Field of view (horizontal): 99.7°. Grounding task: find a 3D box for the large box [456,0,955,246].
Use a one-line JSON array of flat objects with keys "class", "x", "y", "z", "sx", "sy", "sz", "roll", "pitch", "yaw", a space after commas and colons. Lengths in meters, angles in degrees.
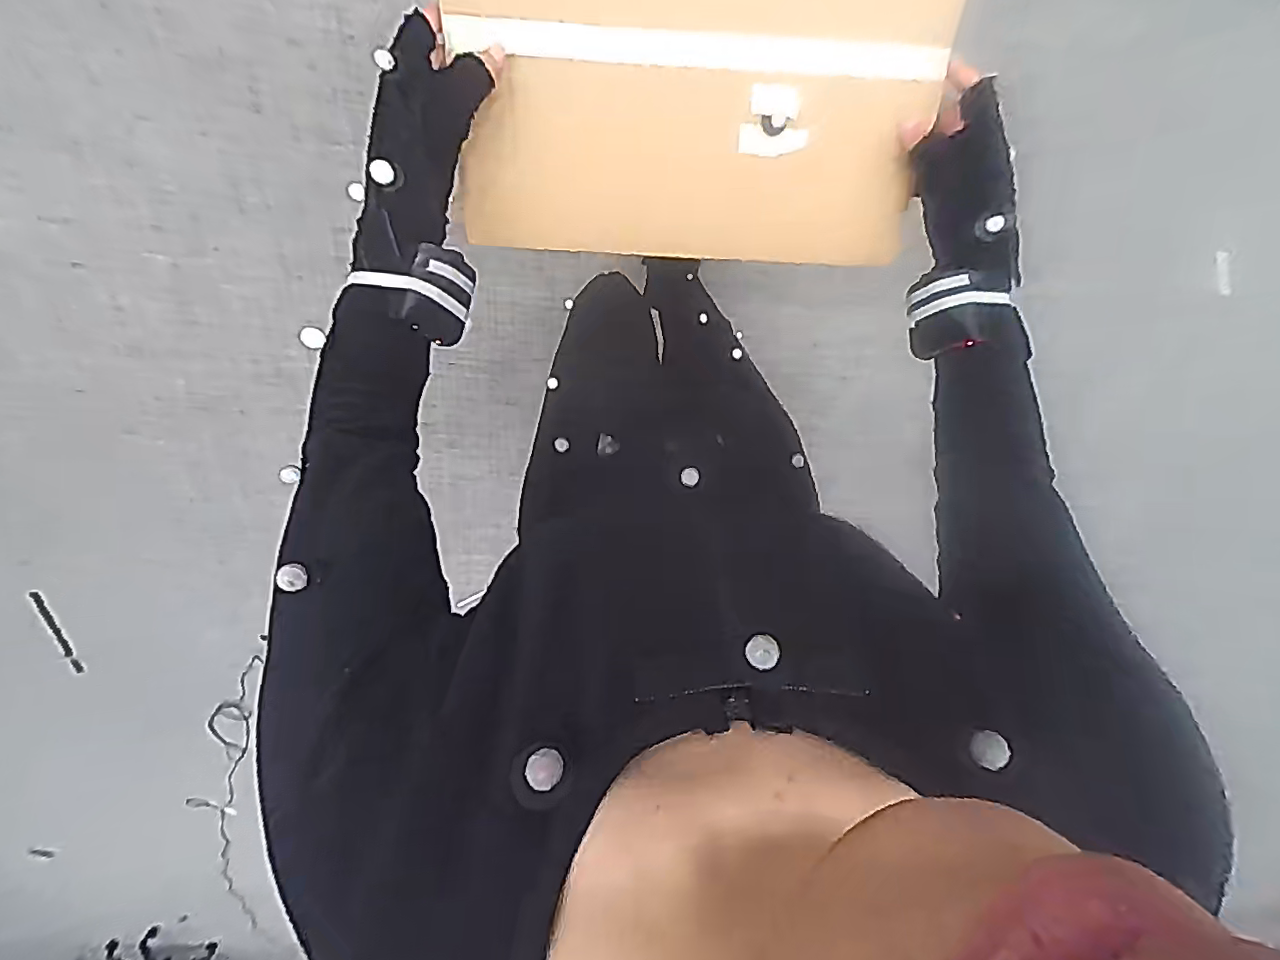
[{"class": "large box", "x": 0.044, "y": -0.440, "z": 0.563, "sx": 0.408, "sy": 0.320, "sz": 0.320, "roll": 1, "pitch": 123, "yaw": -4}]
